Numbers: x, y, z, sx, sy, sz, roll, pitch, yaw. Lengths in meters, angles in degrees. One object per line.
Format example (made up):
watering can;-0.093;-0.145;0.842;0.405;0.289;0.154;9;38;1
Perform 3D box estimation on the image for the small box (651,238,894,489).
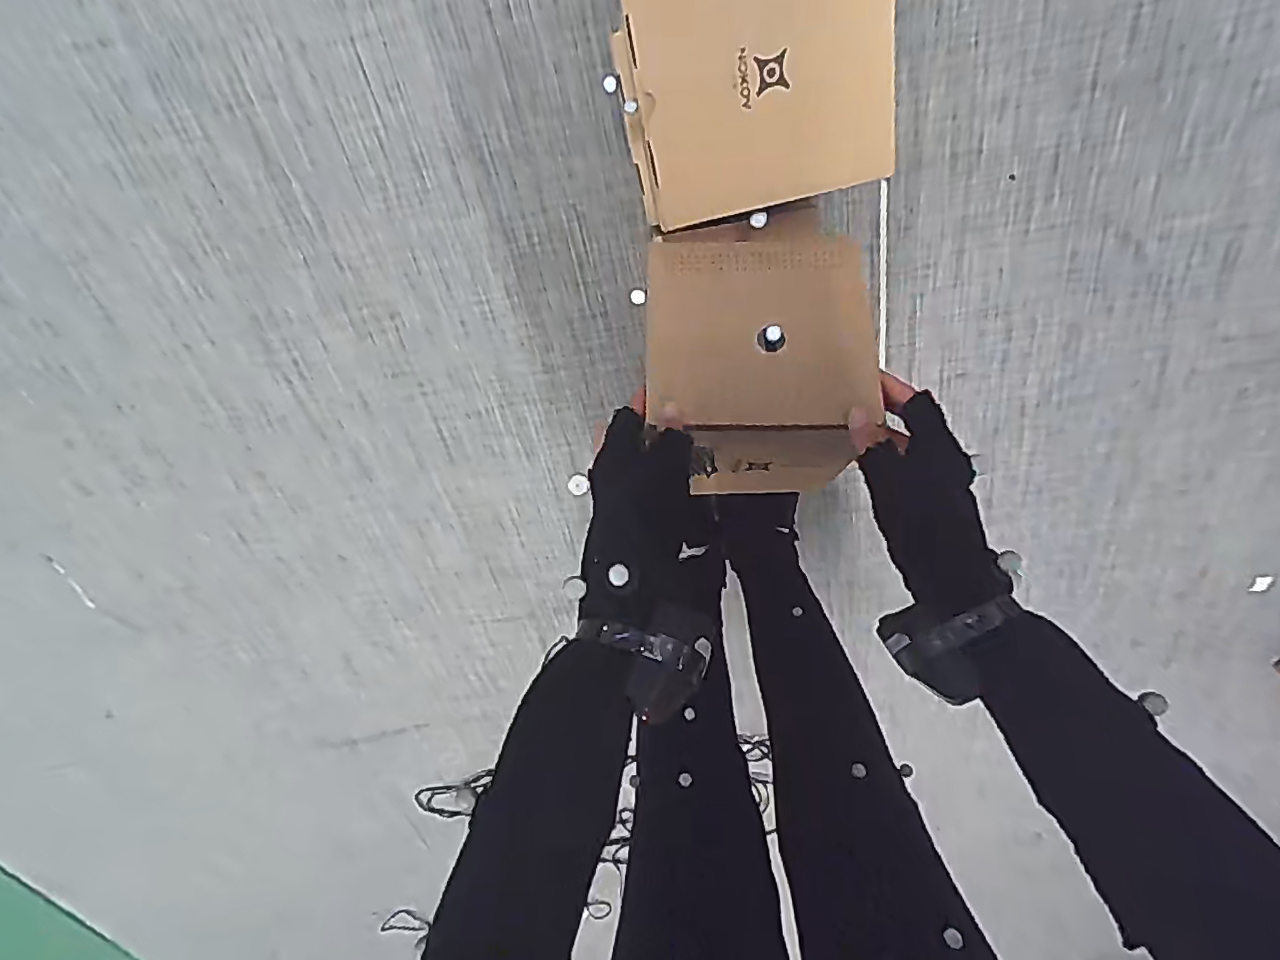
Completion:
small box;0.100;-0.096;0.491;0.179;0.176;0.168;-1;163;3
